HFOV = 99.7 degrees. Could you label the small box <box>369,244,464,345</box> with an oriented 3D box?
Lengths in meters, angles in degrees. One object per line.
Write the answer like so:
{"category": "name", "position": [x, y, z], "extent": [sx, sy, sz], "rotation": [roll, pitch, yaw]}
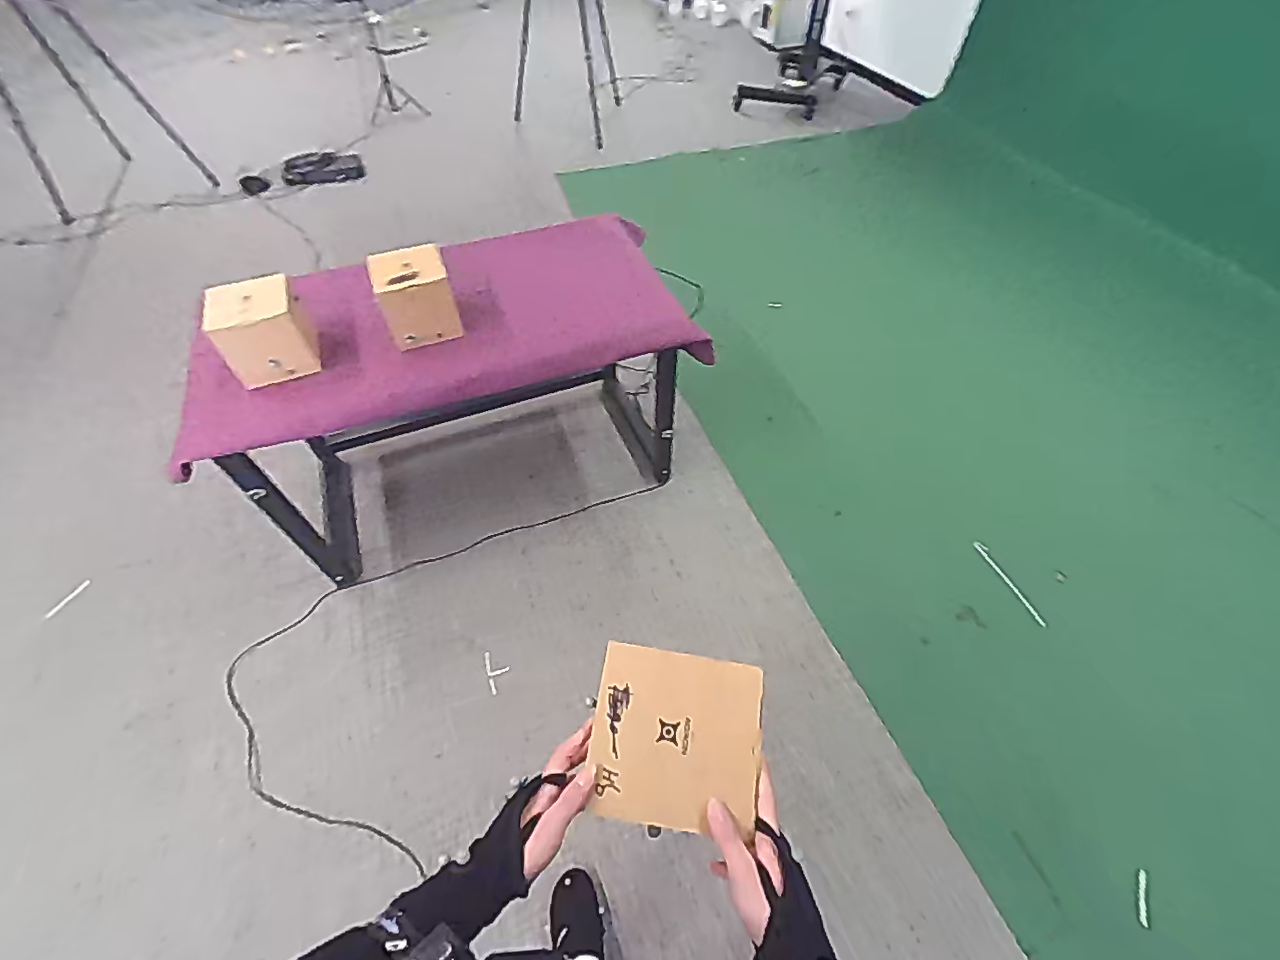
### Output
{"category": "small box", "position": [-0.557, -0.458, 1.360], "extent": [0.168, 0.176, 0.179], "rotation": [-18, 54, -14]}

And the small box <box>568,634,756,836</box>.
{"category": "small box", "position": [0.023, 0.293, 0.625], "extent": [0.179, 0.176, 0.168], "rotation": [10, 60, 2]}

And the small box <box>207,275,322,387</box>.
{"category": "small box", "position": [-0.876, -0.351, 1.274], "extent": [0.168, 0.176, 0.179], "rotation": [-19, 55, -14]}
